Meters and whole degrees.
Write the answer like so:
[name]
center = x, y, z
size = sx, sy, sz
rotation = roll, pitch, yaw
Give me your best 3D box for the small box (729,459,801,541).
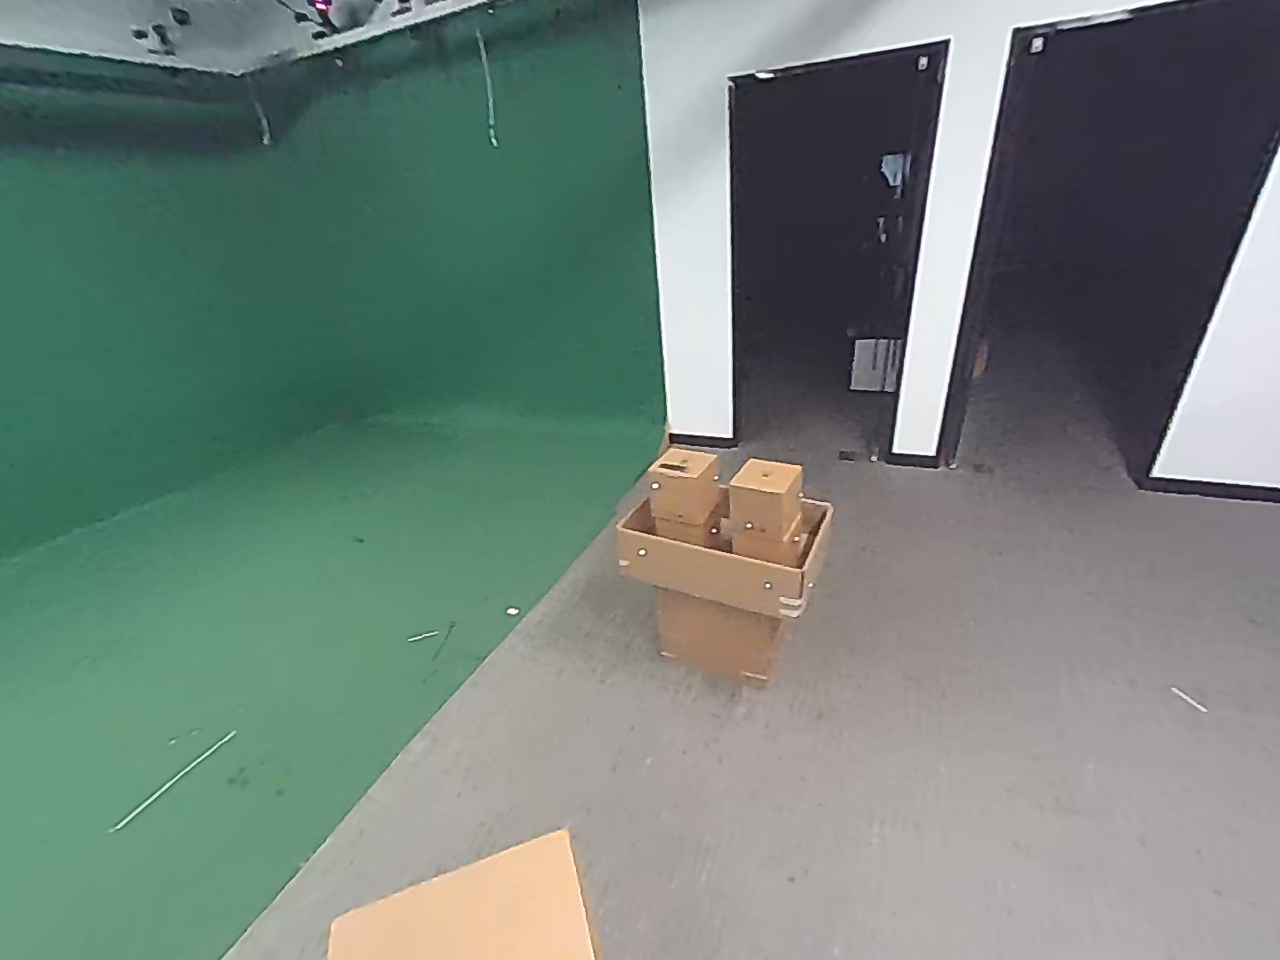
[small box]
center = 0.375, 0.058, 1.625
size = 0.168, 0.176, 0.179
rotation = 10, 33, 30
